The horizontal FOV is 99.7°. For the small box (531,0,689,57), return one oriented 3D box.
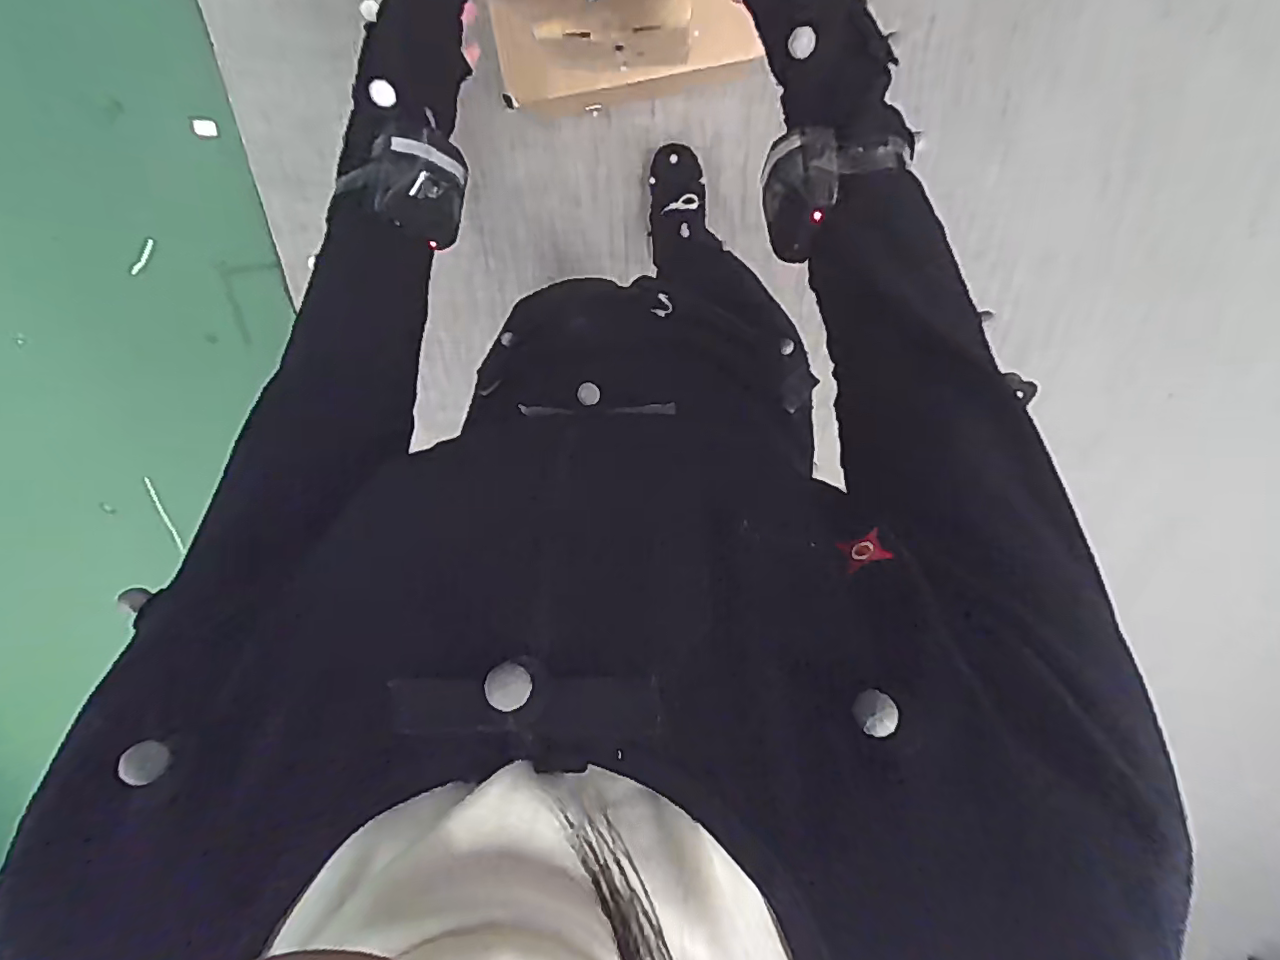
[{"bbox_3d":[-0.029,-0.576,0.584,0.168,0.176,0.179,-1,122,4],"label":"small box"}]

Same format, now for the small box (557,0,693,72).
[{"bbox_3d":[-0.019,-0.660,0.723,0.179,0.176,0.168,0,121,5],"label":"small box"}]
